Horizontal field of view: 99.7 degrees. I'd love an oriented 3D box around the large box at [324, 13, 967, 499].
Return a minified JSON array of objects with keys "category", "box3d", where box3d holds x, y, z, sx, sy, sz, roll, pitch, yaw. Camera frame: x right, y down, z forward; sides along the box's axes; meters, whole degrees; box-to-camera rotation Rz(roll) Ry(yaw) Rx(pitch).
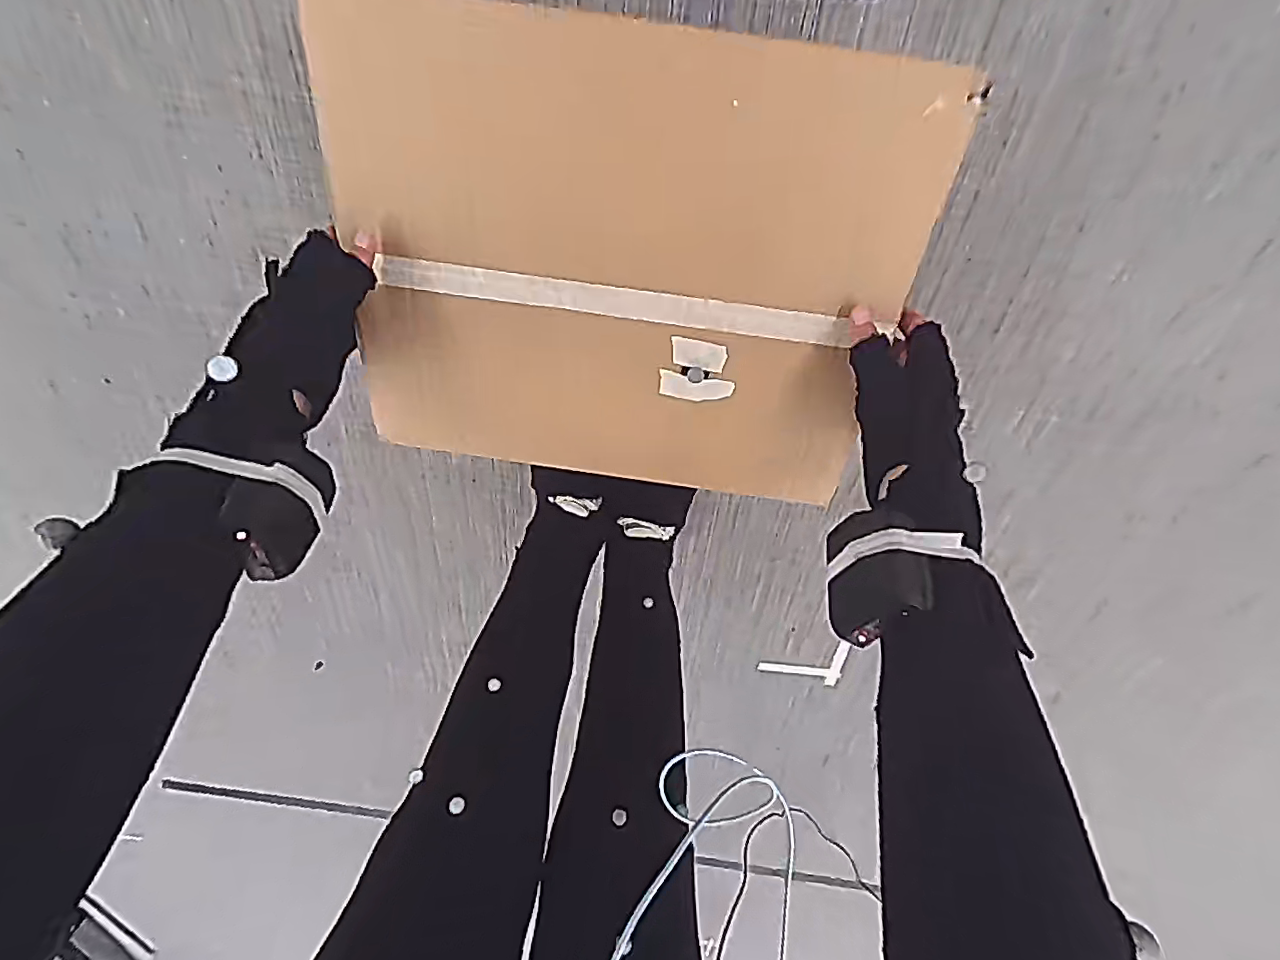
[{"category":"large box","box3d":[-0.003,-0.213,0.533,0.408,0.320,0.320,8,124,0]}]
